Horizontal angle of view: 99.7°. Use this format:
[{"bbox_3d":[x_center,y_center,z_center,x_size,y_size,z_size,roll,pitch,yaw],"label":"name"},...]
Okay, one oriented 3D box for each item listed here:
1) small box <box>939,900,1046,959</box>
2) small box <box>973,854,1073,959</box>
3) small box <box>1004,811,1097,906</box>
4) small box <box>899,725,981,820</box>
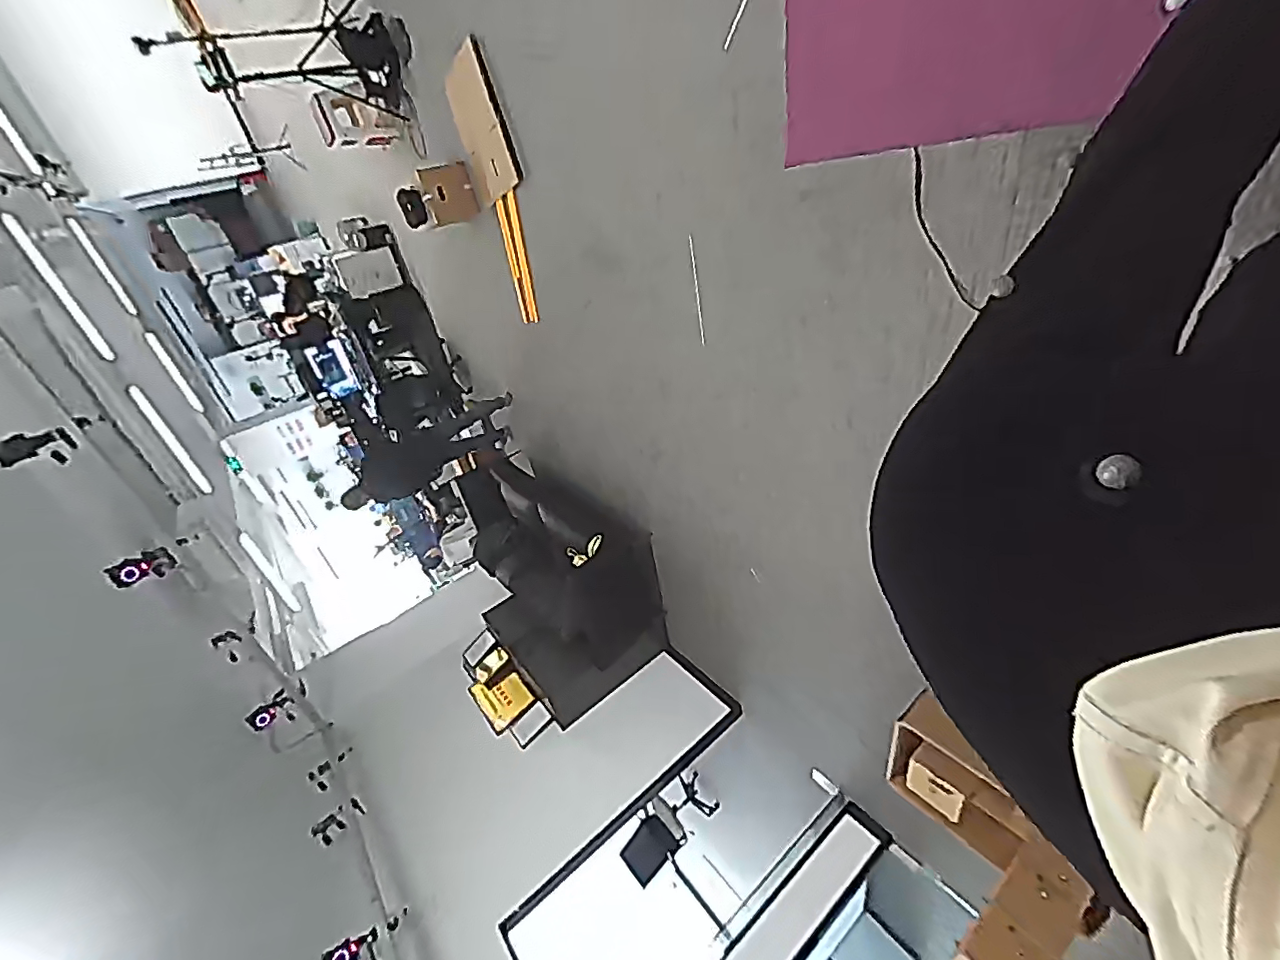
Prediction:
[{"bbox_3d":[0.923,1.261,1.419,0.168,0.176,0.179,33,142,40],"label":"small box"},{"bbox_3d":[1.049,1.188,1.490,0.168,0.176,0.179,32,142,41],"label":"small box"},{"bbox_3d":[1.176,1.114,1.563,0.168,0.176,0.179,30,141,43],"label":"small box"},{"bbox_3d":[0.962,0.930,1.735,0.168,0.176,0.179,29,141,45],"label":"small box"}]
